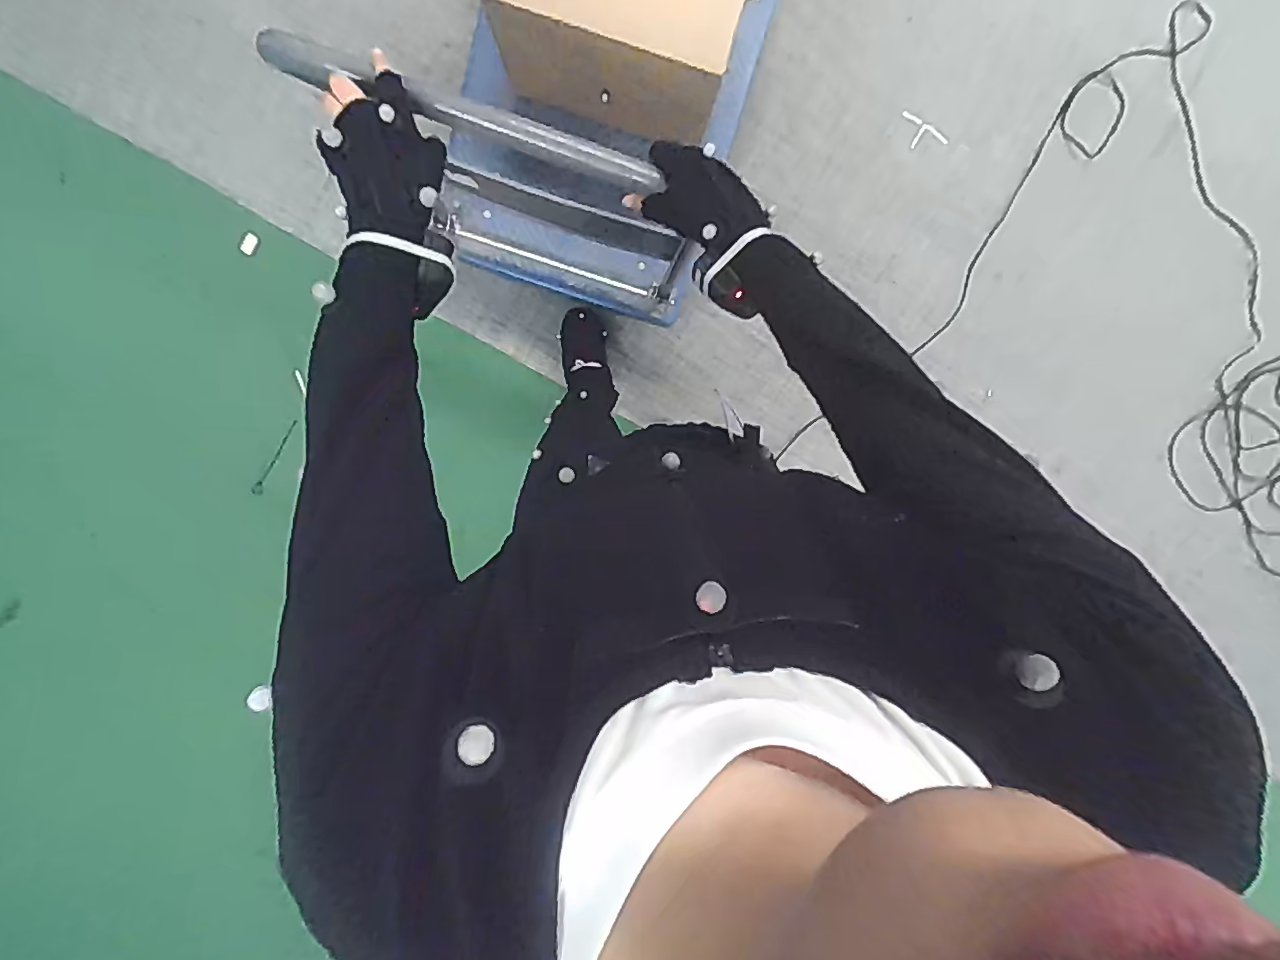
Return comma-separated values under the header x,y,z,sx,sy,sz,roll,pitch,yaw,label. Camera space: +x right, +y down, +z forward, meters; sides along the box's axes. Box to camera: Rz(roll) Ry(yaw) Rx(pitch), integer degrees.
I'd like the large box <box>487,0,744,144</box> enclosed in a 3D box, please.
x,y,z,sx,sy,sz,roll,pitch,yaw,label
-0.017,-0.883,0.981,0.408,0.320,0.320,16,99,-4,large box
